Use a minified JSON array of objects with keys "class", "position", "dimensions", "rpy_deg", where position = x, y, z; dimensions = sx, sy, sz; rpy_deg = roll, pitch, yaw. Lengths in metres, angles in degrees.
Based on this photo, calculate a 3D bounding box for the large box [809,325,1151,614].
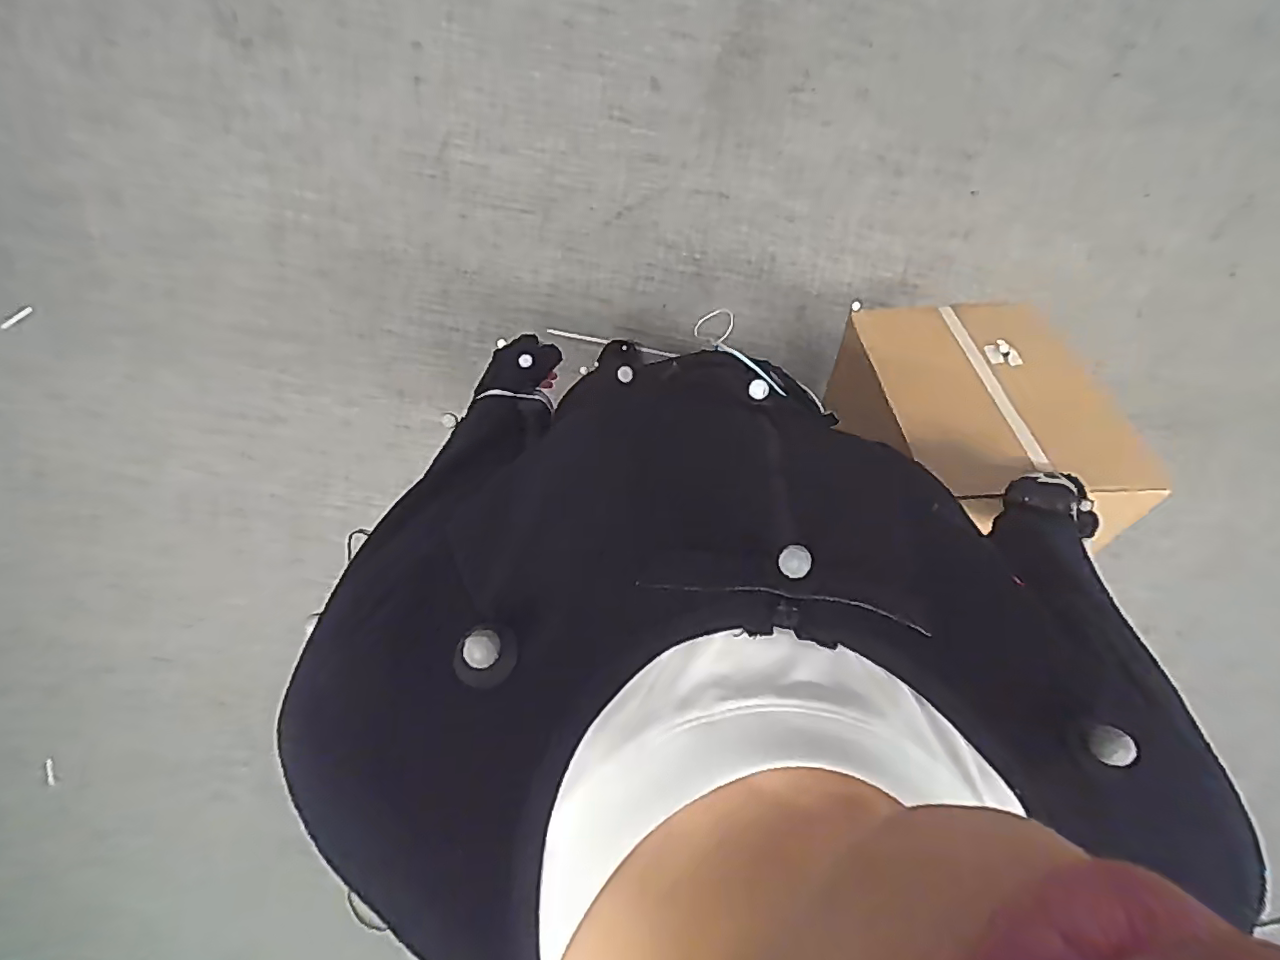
[{"class":"large box","position":[0.521,-0.020,0.949],"dimensions":[0.320,0.408,0.320],"rpy_deg":[-2,140,0]}]
